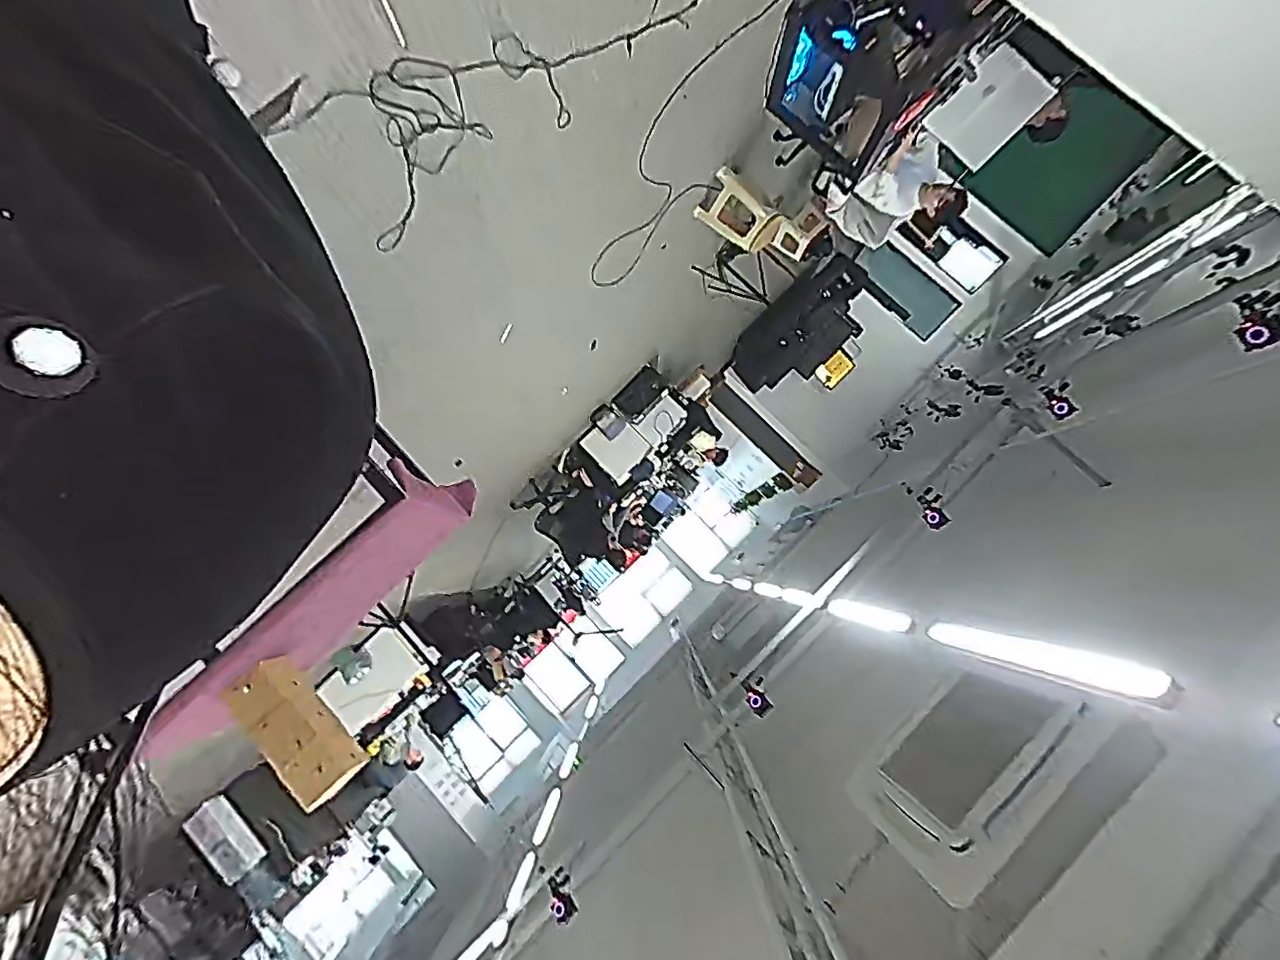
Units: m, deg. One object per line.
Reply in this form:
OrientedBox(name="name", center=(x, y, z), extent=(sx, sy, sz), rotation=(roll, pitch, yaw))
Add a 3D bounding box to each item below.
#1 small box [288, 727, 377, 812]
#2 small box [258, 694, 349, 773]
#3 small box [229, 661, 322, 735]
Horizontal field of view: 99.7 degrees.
OrientedBox(name="small box", center=(-1.059, 0.989, 1.862), extent=(0.168, 0.176, 0.179), rotation=(-44, 173, -11))
OrientedBox(name="small box", center=(-1.173, 0.876, 1.890), extent=(0.168, 0.176, 0.179), rotation=(-44, 173, -11))
OrientedBox(name="small box", center=(-1.288, 0.762, 1.916), extent=(0.168, 0.176, 0.179), rotation=(-45, 172, -9))
